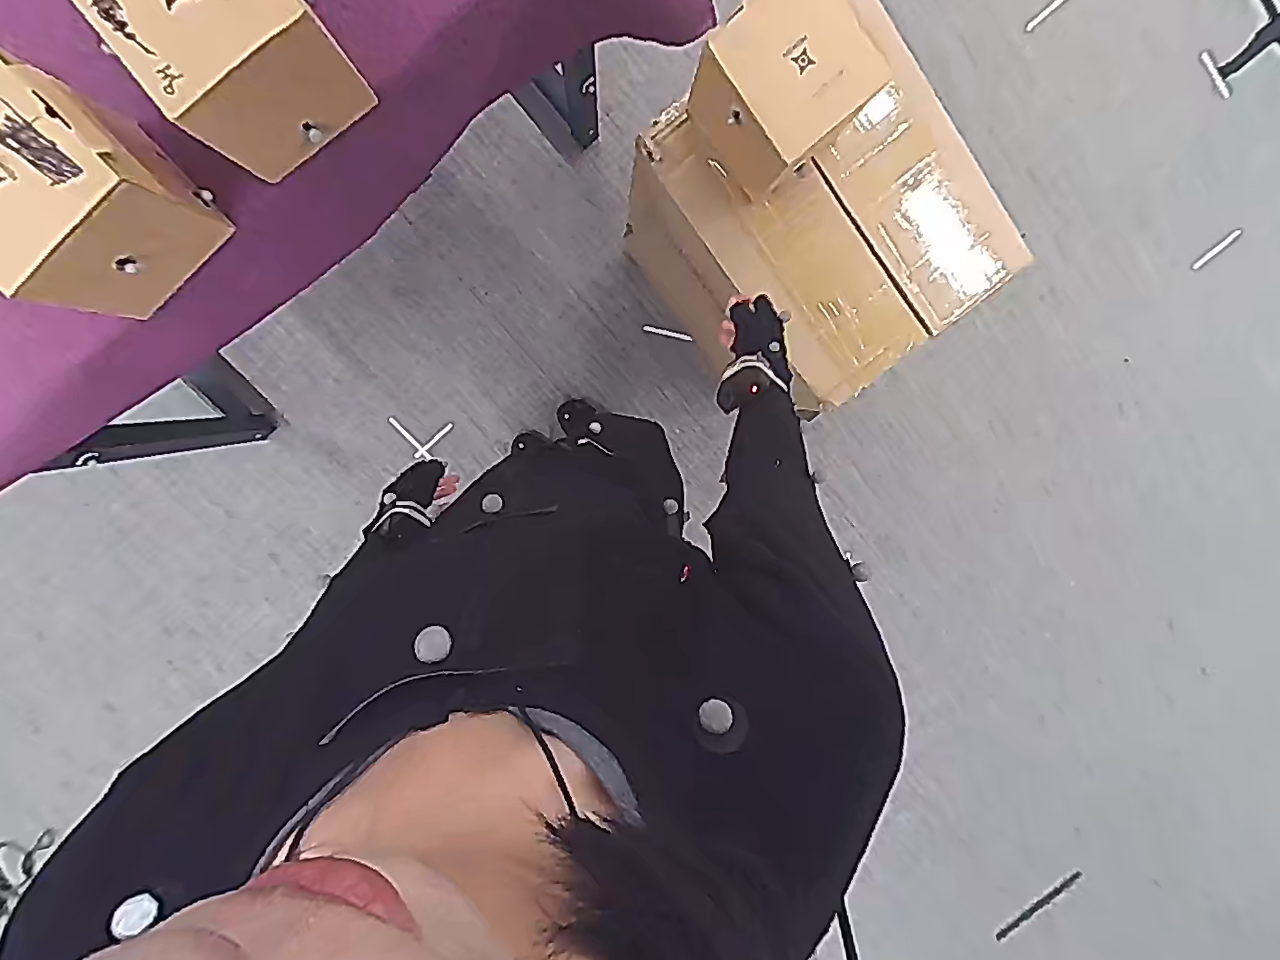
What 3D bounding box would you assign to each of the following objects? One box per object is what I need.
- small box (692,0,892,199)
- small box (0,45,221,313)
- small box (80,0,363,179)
[{"bbox_3d":[0.189,-0.522,0.729,0.168,0.176,0.179,-39,101,5],"label":"small box"},{"bbox_3d":[-0.629,-0.314,0.606,0.179,0.176,0.168,-41,98,4],"label":"small box"},{"bbox_3d":[-0.440,-0.480,0.594,0.179,0.176,0.168,-36,98,2],"label":"small box"}]
